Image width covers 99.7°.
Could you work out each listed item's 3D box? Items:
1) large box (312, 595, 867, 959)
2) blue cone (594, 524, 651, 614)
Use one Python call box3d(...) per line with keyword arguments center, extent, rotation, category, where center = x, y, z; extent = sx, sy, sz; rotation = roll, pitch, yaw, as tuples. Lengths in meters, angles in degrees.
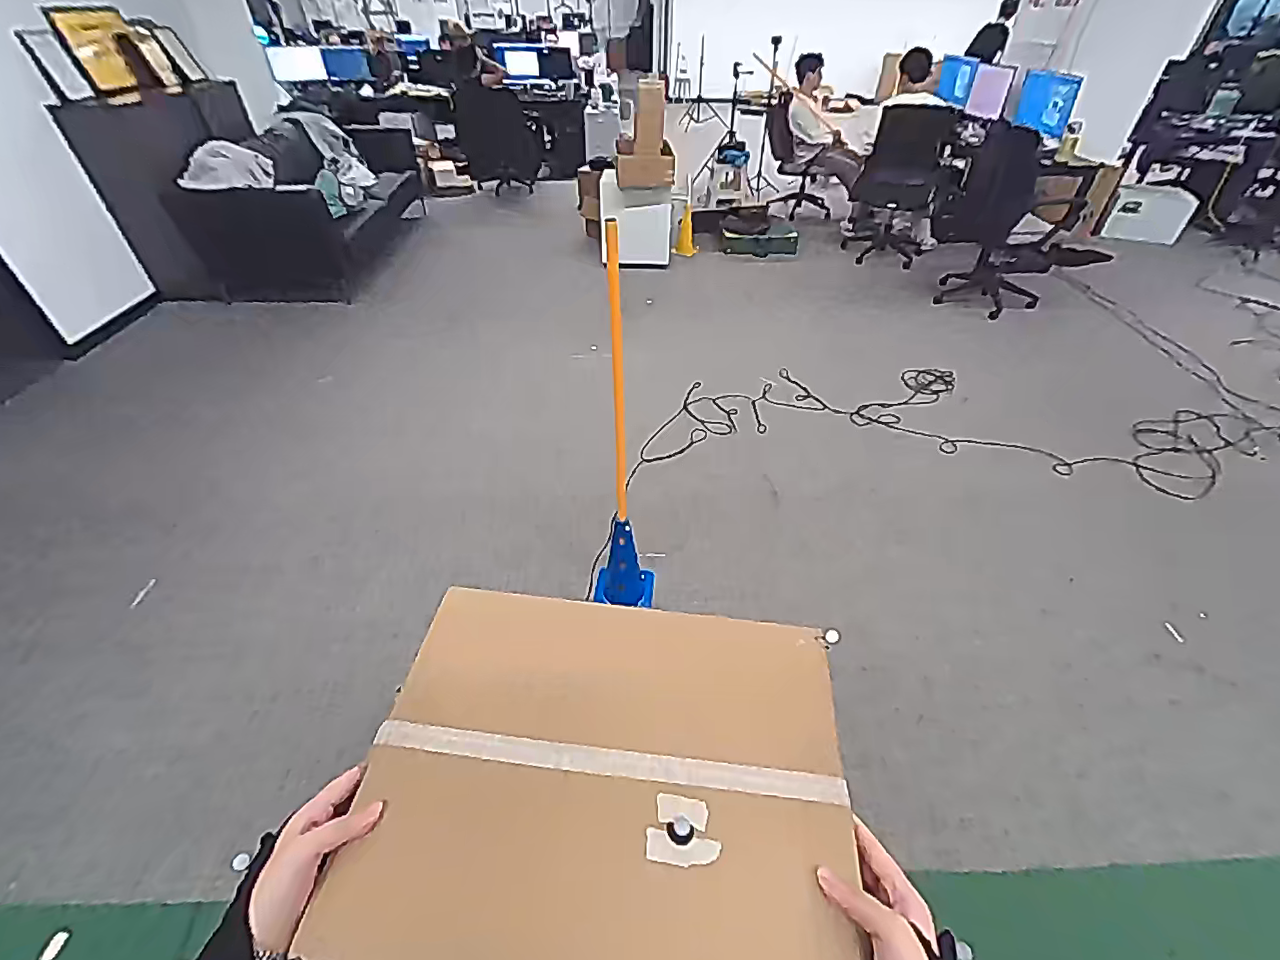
box3d(center=(-0.030, 0.355, 0.580), extent=(0.408, 0.320, 0.320), rotation=(6, 45, 3), category="large box")
box3d(center=(-0.059, 0.279, 1.761), extent=(0.193, 0.380, 0.192), rotation=(5, 42, 5), category="blue cone")
